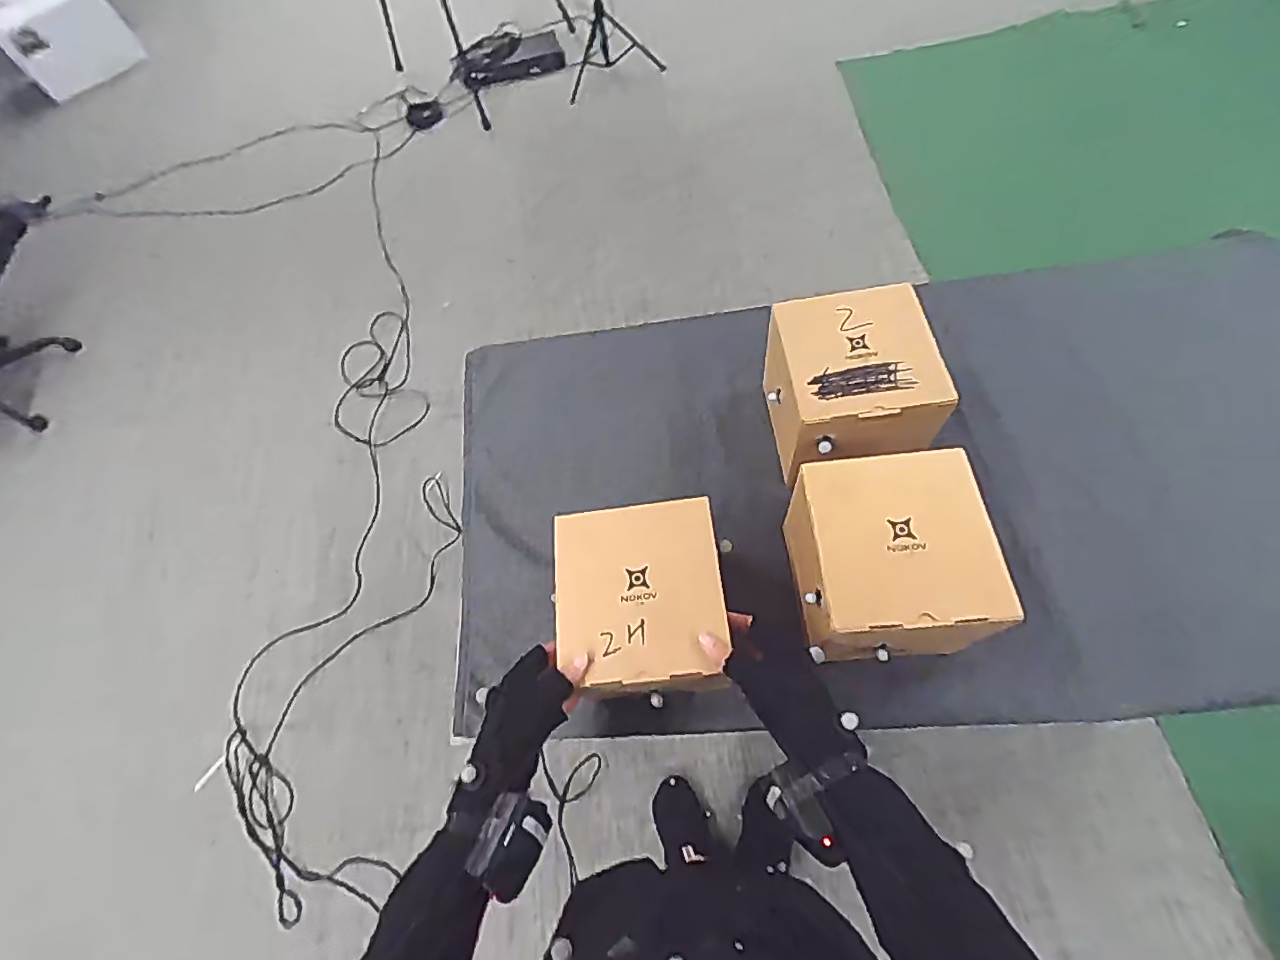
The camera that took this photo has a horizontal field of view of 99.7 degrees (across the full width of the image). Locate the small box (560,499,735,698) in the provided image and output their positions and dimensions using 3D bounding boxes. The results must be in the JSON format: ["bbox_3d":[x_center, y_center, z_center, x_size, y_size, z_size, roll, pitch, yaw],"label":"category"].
[{"bbox_3d":[0.010,0.140,0.608,0.168,0.176,0.179,-8,64,5],"label":"small box"}]
